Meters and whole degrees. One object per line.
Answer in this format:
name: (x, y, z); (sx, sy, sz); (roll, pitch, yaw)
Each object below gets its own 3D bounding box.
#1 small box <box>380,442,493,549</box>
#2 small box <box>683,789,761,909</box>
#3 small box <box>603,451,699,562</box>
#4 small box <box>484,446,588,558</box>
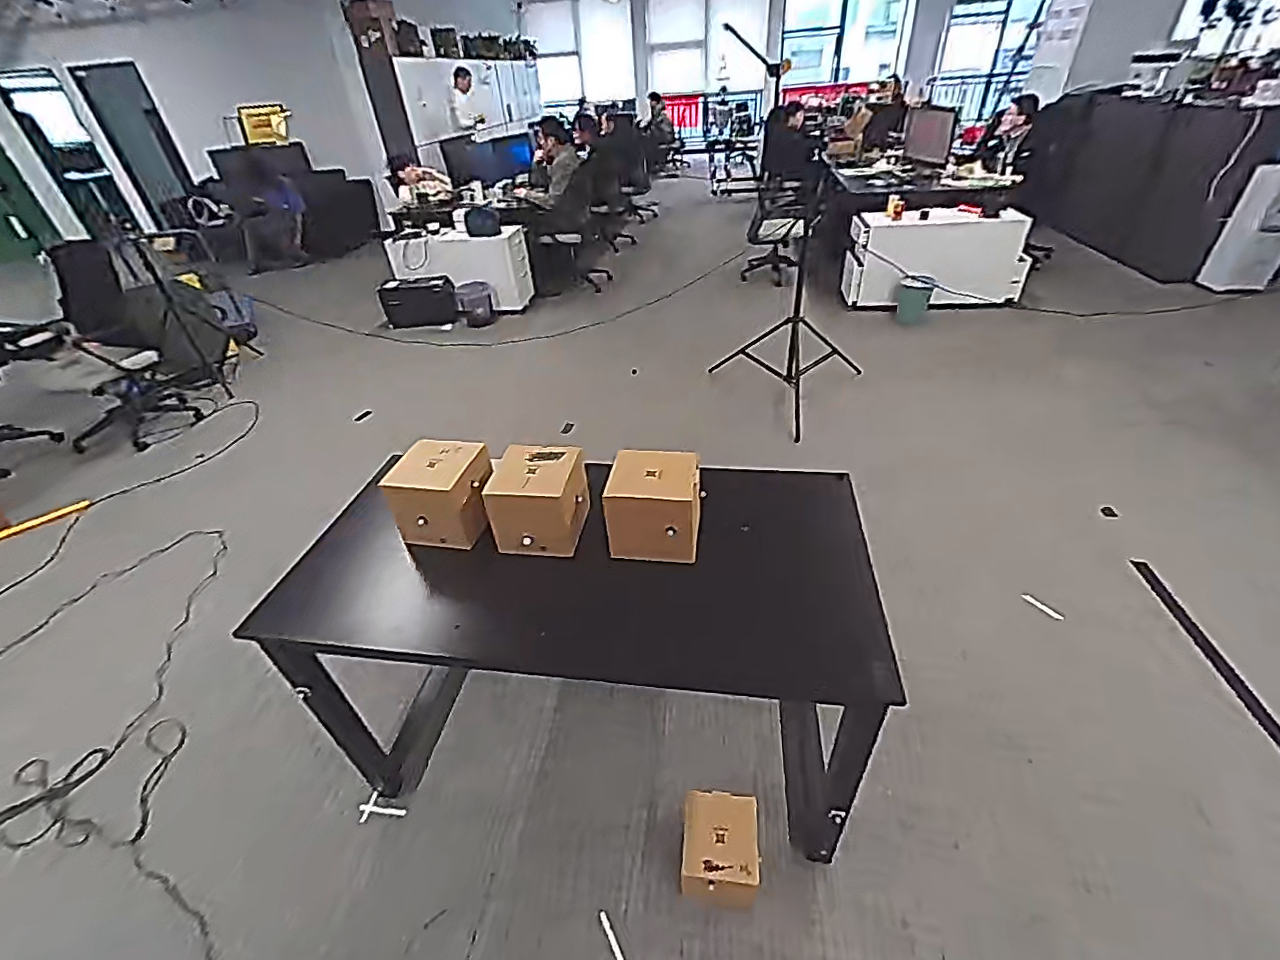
small box: (-0.435, 0.034, 1.209); (0.168, 0.176, 0.179); (4, 37, 11)
small box: (0.190, 0.856, 1.257); (0.168, 0.176, 0.179); (1, 37, 9)
small box: (0.032, 0.055, 1.131); (0.179, 0.176, 0.168); (1, 36, 10)
small box: (-0.214, 0.045, 1.169); (0.168, 0.176, 0.179); (2, 38, 9)
